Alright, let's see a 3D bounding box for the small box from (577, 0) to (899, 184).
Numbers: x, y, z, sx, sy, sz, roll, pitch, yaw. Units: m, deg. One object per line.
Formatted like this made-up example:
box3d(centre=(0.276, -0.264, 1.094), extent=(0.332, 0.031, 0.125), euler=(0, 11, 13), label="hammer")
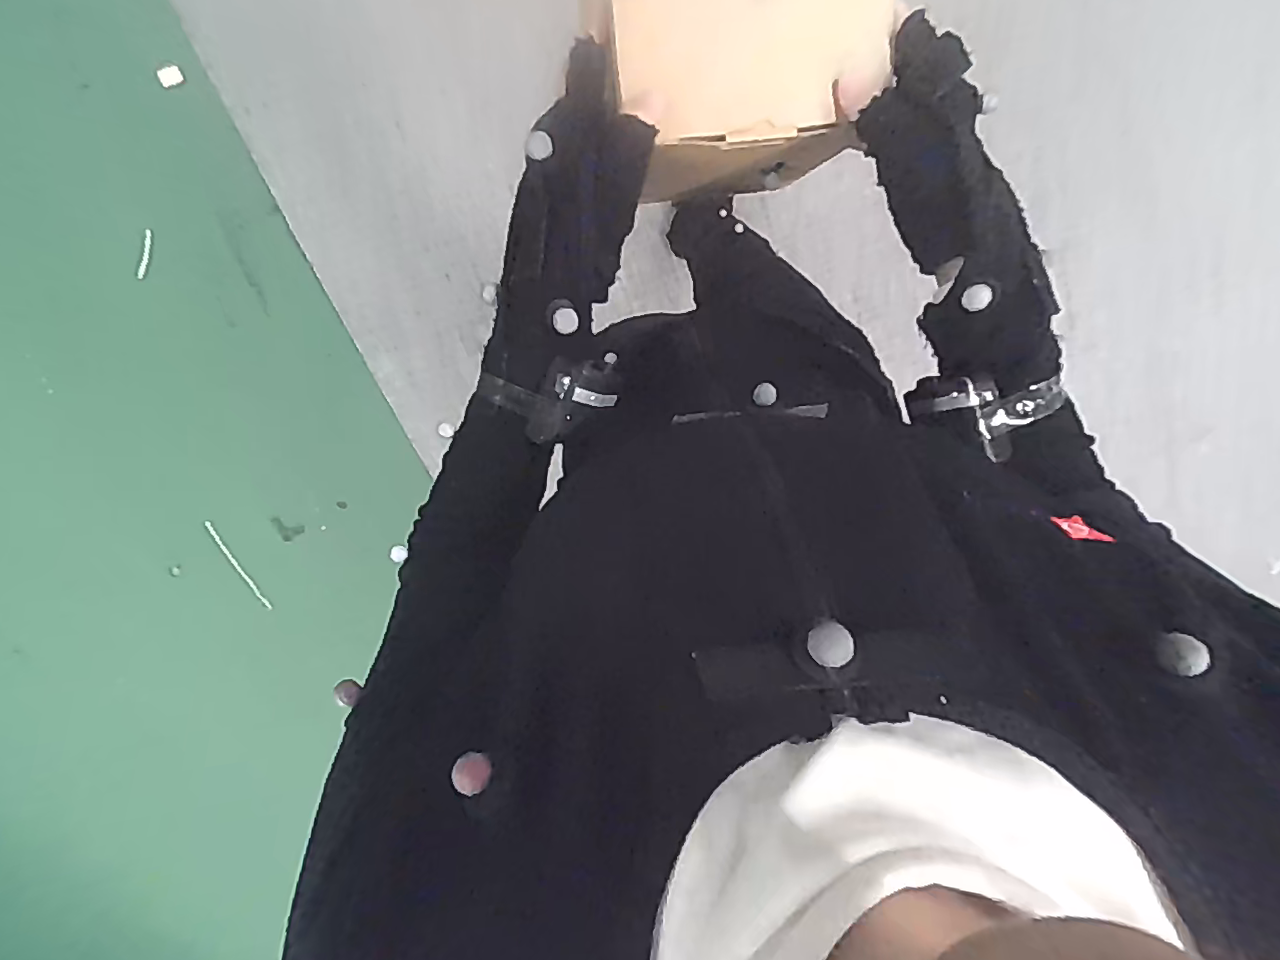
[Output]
box3d(centre=(0.049, -0.315, 0.362), extent=(0.168, 0.176, 0.179), euler=(-12, 109, -4), label="small box")
